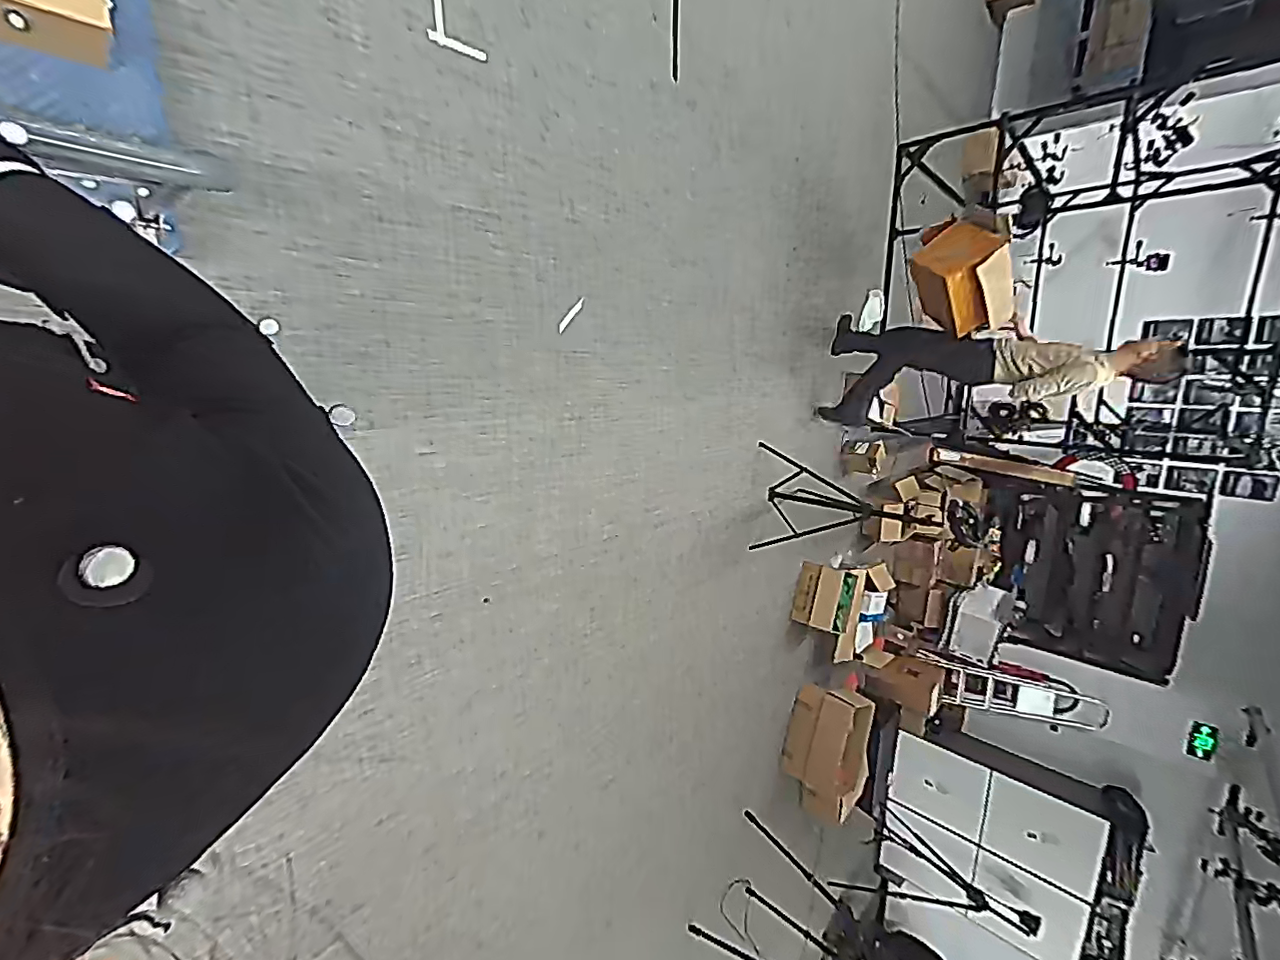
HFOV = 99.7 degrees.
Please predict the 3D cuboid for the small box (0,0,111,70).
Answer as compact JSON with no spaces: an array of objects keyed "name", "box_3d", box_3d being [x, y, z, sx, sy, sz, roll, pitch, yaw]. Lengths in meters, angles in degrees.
[{"name":"small box","box_3d":[-0.891,-0.727,0.768,0.179,0.176,0.168,-14,109,-45]}]
